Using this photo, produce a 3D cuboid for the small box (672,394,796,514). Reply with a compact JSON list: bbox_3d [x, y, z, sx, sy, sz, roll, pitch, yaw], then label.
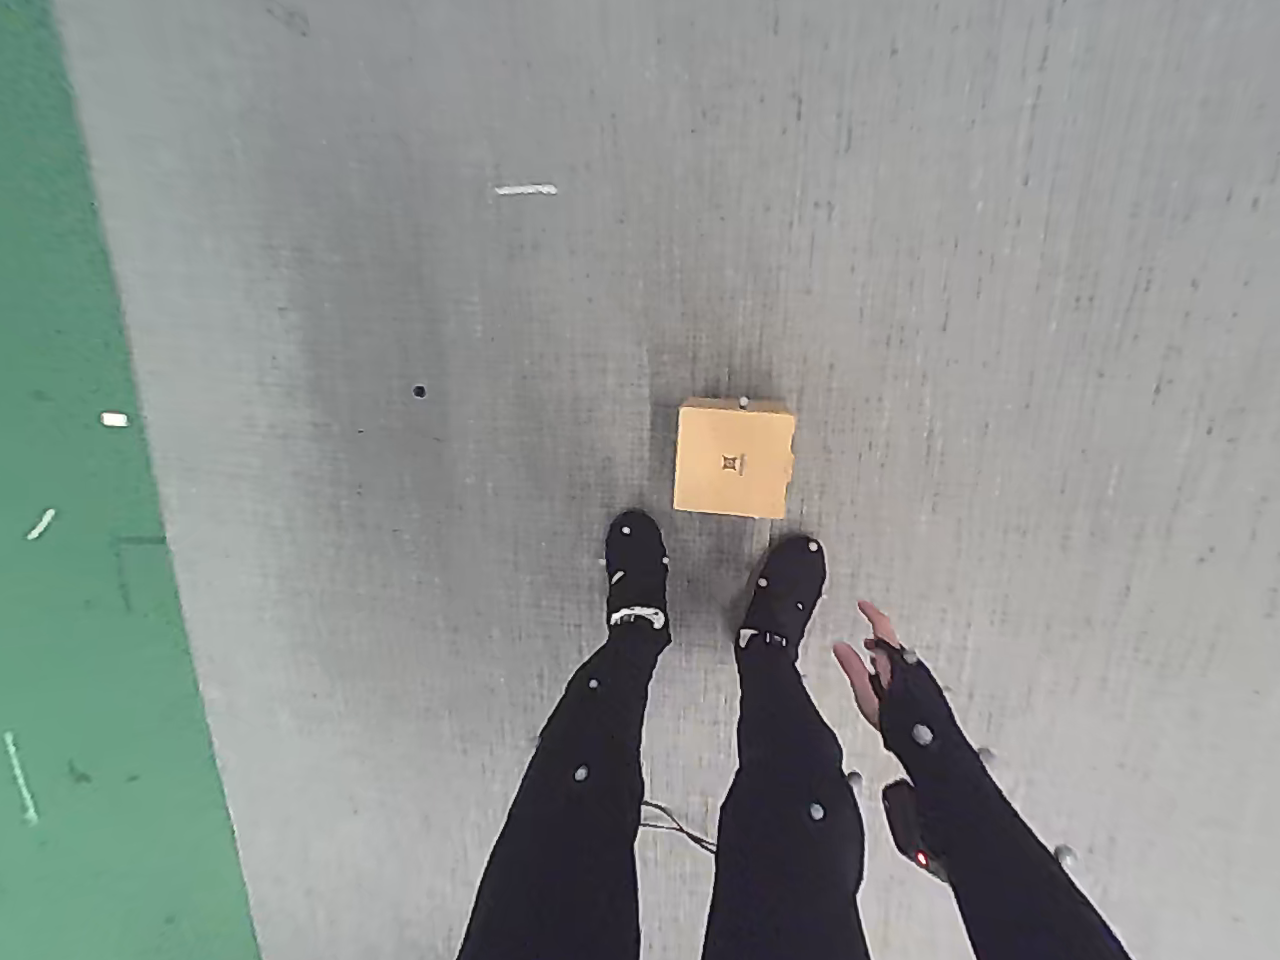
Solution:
[{"bbox_3d":[0.151,-0.052,0.898,0.179,0.176,0.168,4,104,7],"label":"small box"}]
